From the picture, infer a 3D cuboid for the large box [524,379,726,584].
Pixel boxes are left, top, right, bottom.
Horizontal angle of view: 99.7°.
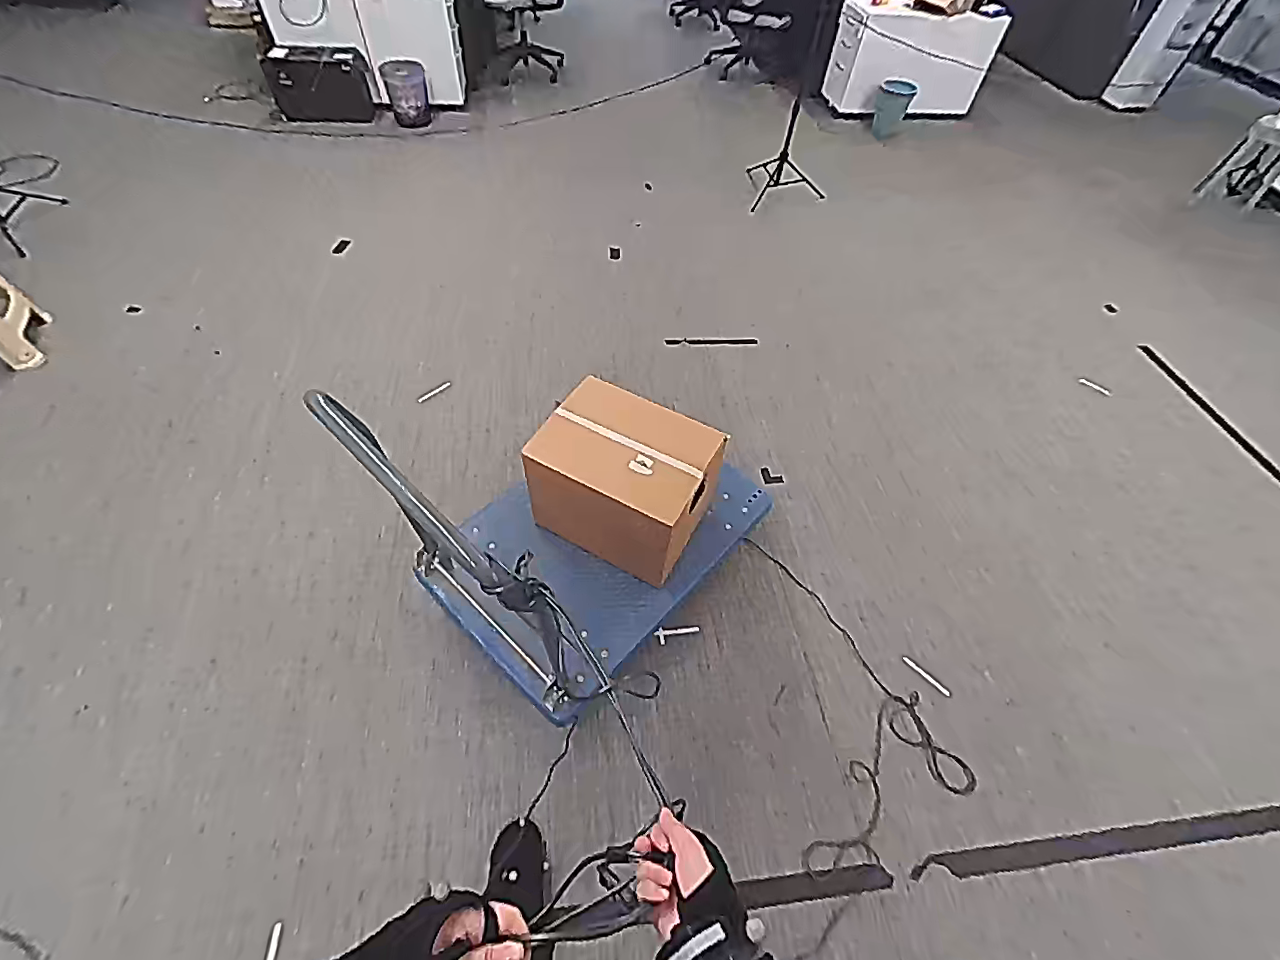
[{"bbox_3d":[-0.043,0.004,1.415,0.408,0.320,0.320,26,56,13],"label":"large box"}]
